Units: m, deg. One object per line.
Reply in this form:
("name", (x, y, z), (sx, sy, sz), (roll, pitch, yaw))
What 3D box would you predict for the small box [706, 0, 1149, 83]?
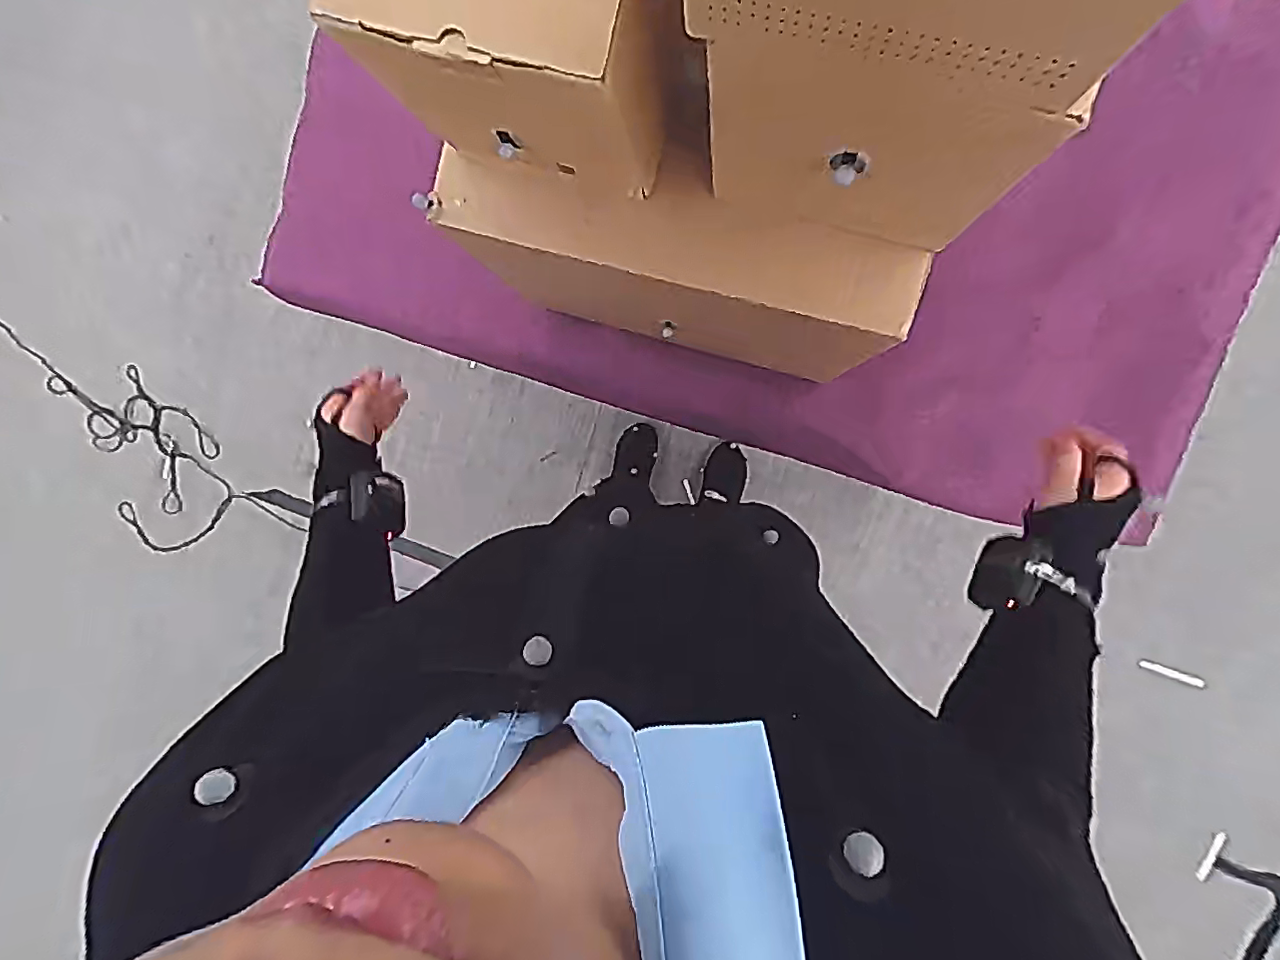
("small box", (0.115, -0.257, 0.151), (0.179, 0.176, 0.168), (18, 97, 7))
